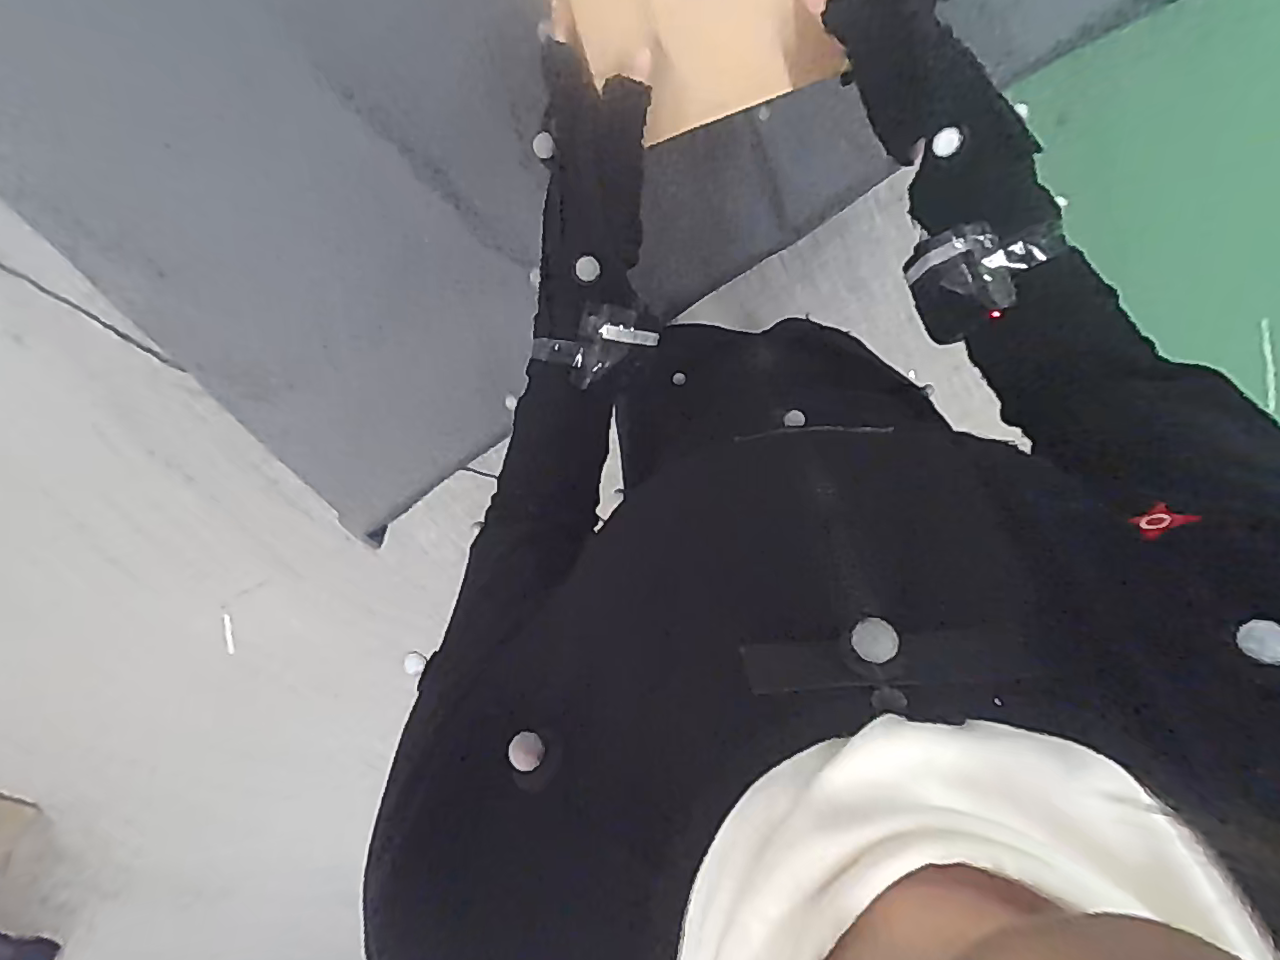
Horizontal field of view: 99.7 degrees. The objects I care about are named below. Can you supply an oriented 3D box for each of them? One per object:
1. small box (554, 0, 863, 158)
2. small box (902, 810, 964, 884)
[{"bbox_3d":[0.032,-0.352,0.384,0.179,0.176,0.168,-19,122,4],"label":"small box"},{"bbox_3d":[1.190,1.483,2.184,0.179,0.176,0.168,-28,114,5],"label":"small box"}]
